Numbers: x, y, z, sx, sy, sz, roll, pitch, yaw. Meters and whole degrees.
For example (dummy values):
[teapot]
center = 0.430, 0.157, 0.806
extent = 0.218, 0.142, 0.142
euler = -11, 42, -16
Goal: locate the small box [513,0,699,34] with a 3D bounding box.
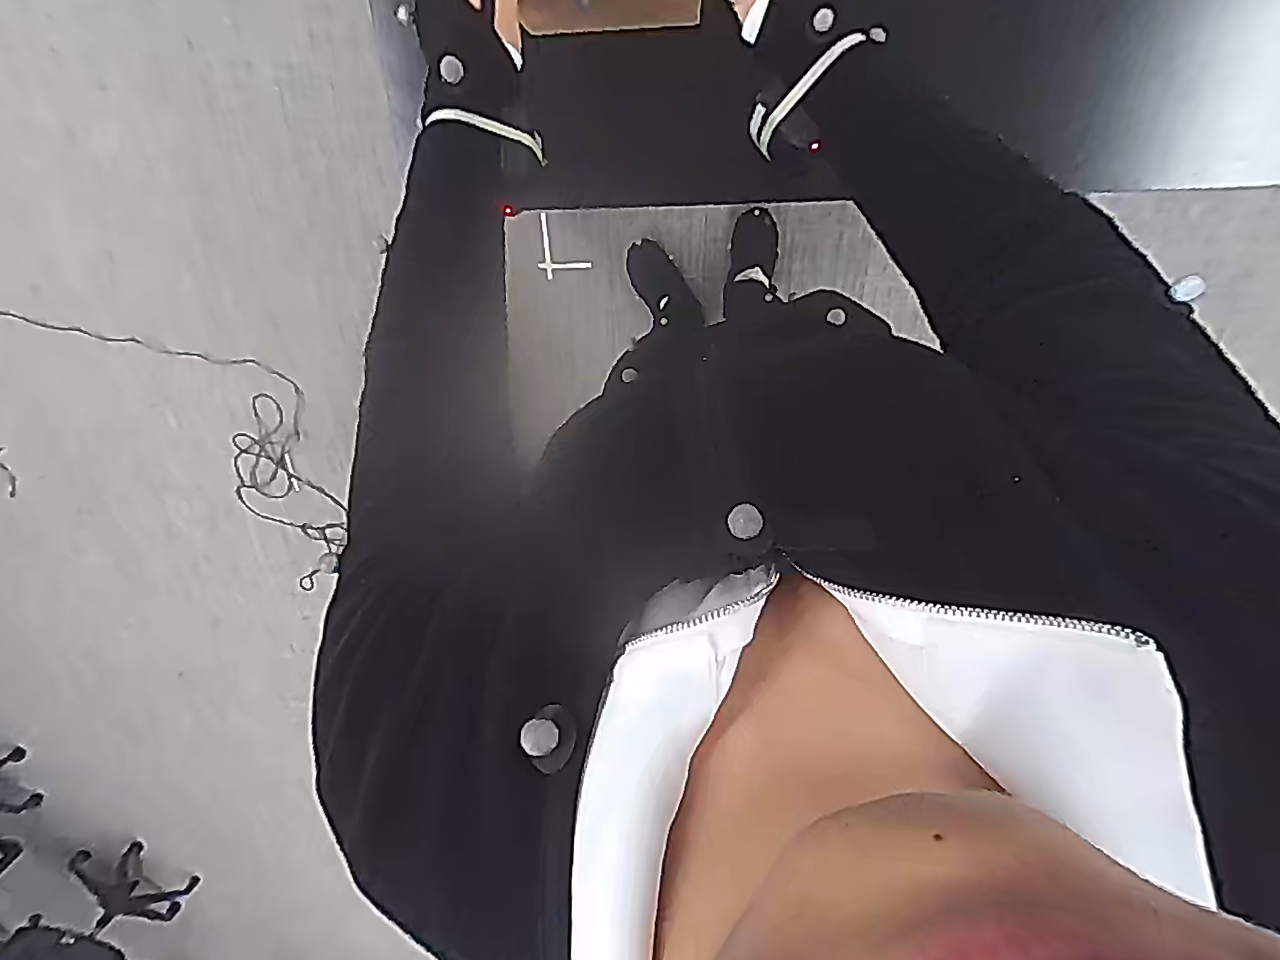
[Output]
[small box]
center = -0.036, -0.503, 0.454
extent = 0.179, 0.176, 0.168
euler = 0, 117, 4
